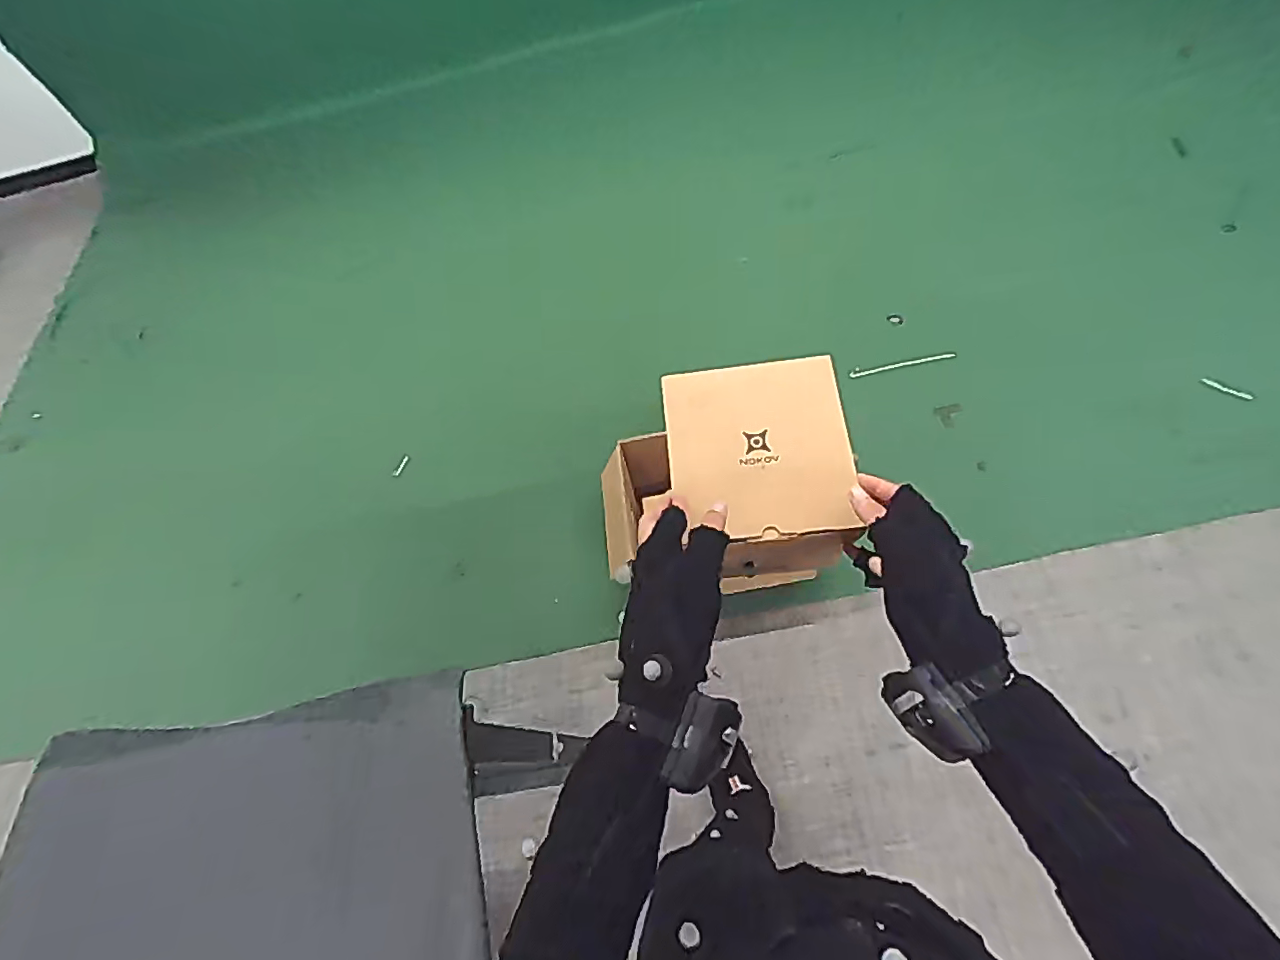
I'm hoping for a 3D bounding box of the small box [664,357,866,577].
[{"bbox_3d":[0.117,-0.004,0.575,0.168,0.176,0.179,-7,70,5],"label":"small box"}]
